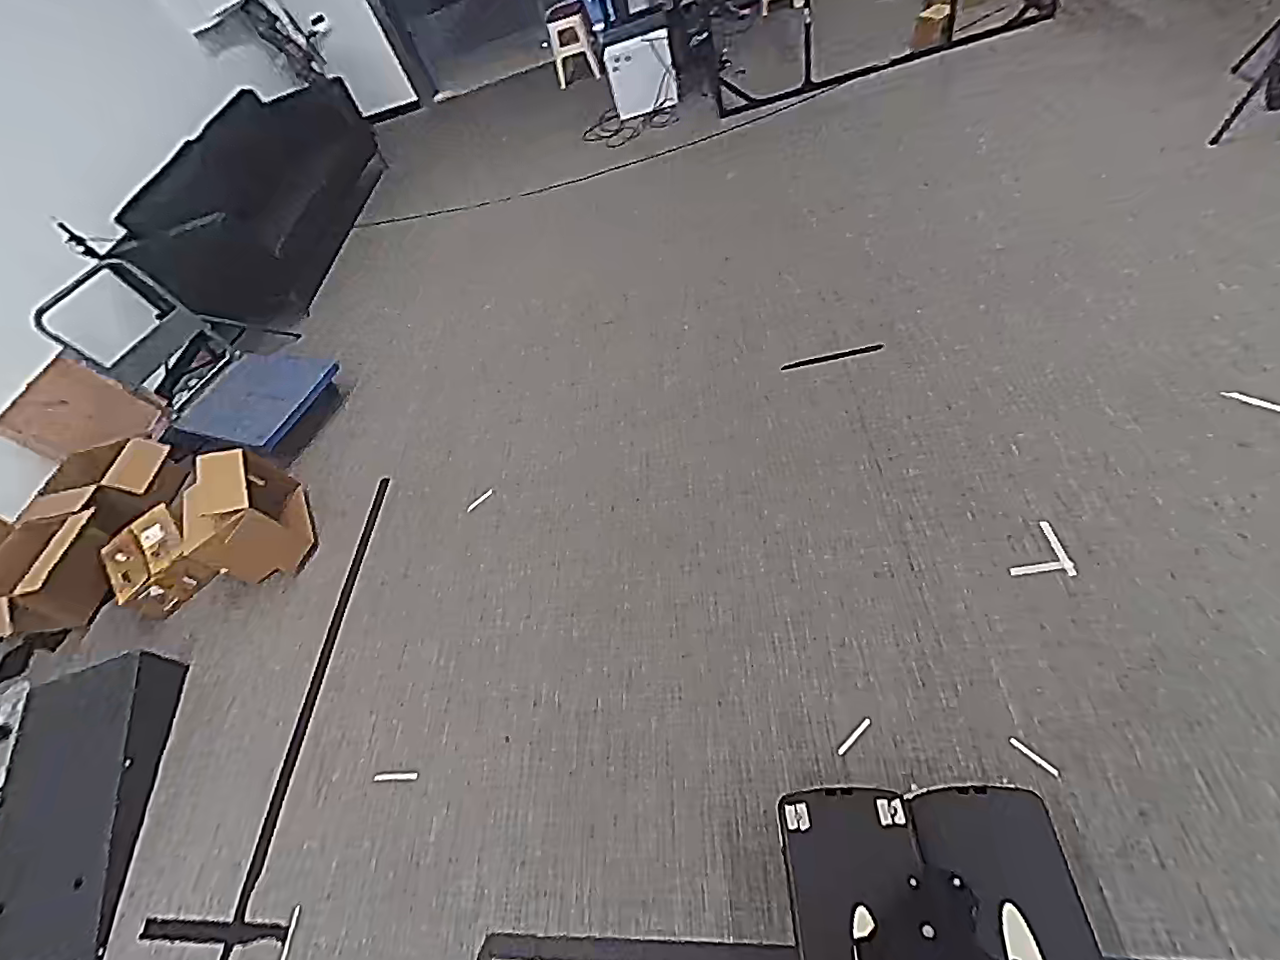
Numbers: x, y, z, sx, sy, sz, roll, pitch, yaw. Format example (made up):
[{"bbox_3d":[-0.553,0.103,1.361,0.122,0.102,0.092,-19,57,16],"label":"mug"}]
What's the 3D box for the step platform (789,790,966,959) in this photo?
[{"bbox_3d":[0.494,1.002,1.062,0.286,0.204,0.684,-10,52,11],"label":"step platform"}]
